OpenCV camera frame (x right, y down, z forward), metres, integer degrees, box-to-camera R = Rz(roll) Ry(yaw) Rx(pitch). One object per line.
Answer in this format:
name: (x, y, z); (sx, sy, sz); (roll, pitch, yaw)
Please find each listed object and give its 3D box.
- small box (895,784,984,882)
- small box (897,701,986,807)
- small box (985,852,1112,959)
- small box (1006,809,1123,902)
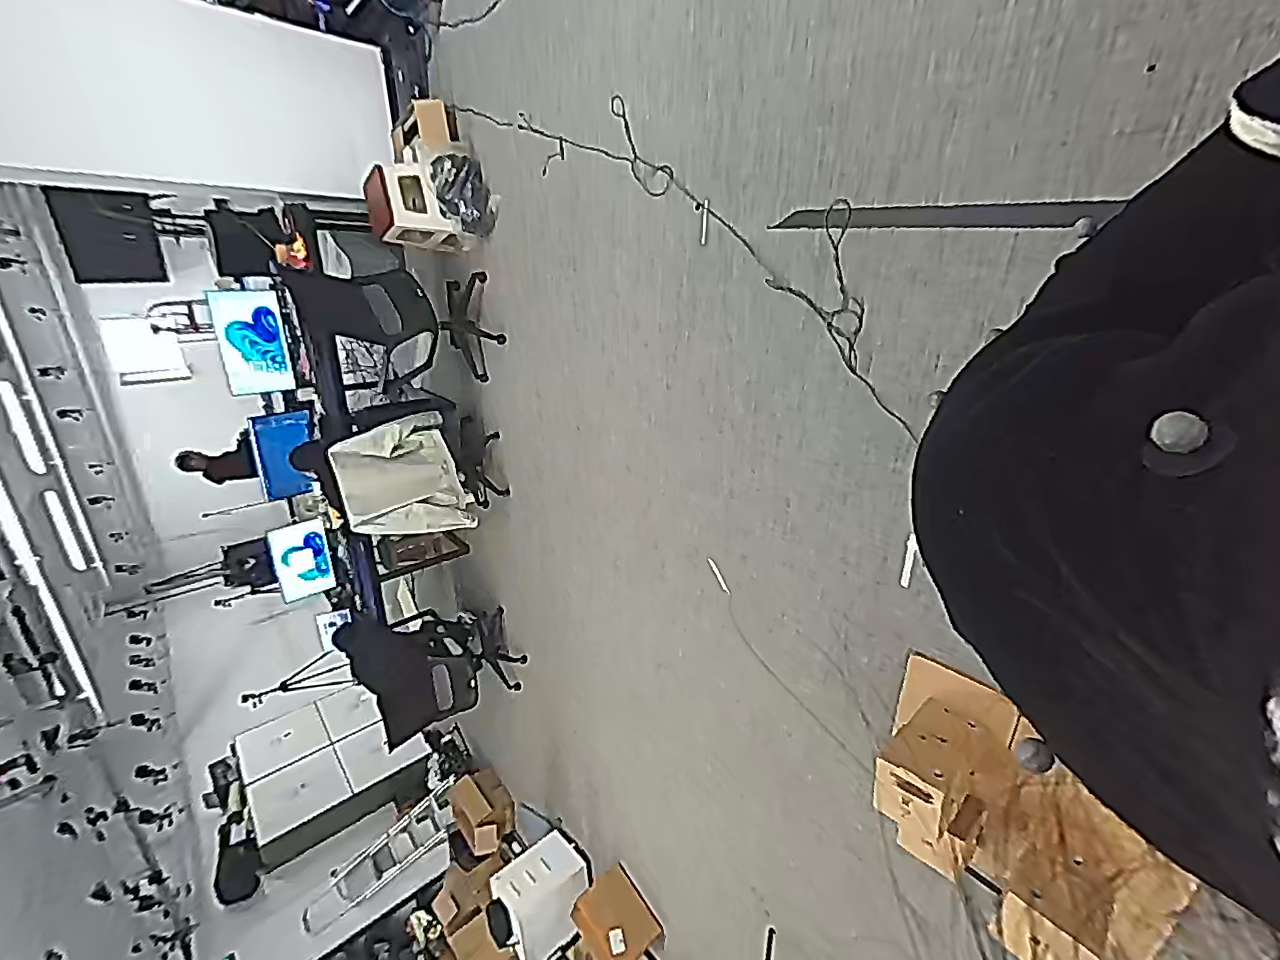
small box: (0.887, 1.020, 1.605); (0.179, 0.176, 0.168); (17, 117, 45)
small box: (0.860, 0.768, 1.540); (0.168, 0.176, 0.179); (17, 117, 46)
small box: (0.951, 1.017, 1.261); (0.179, 0.176, 0.168); (27, 123, 40)
small box: (1.072, 0.976, 1.366); (0.179, 0.176, 0.168); (25, 122, 41)
